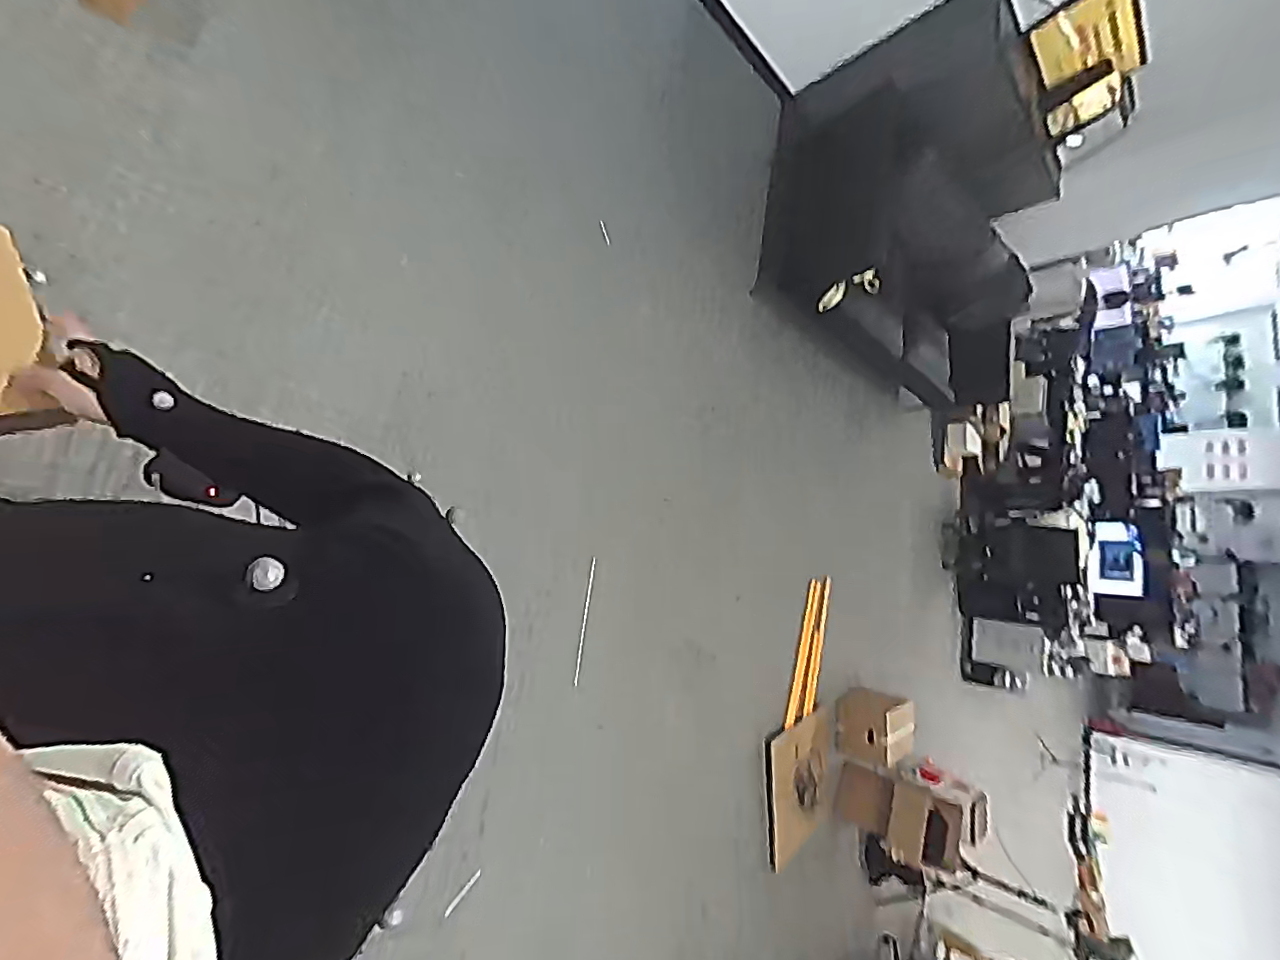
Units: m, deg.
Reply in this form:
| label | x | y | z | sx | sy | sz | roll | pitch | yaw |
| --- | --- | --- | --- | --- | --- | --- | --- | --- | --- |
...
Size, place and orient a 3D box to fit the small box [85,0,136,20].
| label | x | y | z | sx | sy | sz | roll | pitch | yaw |
| --- | --- | --- | --- | --- | --- | --- | --- | --- | --- |
| small box | -1.161 | -1.142 | 1.133 | 0.168 | 0.176 | 0.179 | 16 | 78 | -41 |

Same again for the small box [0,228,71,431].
| label | x | y | z | sx | sy | sz | roll | pitch | yaw |
| --- | --- | --- | --- | --- | --- | --- | --- | --- | --- |
| small box | -0.683 | -0.133 | 0.512 | 0.168 | 0.176 | 0.179 | -20 | 101 | -43 |
